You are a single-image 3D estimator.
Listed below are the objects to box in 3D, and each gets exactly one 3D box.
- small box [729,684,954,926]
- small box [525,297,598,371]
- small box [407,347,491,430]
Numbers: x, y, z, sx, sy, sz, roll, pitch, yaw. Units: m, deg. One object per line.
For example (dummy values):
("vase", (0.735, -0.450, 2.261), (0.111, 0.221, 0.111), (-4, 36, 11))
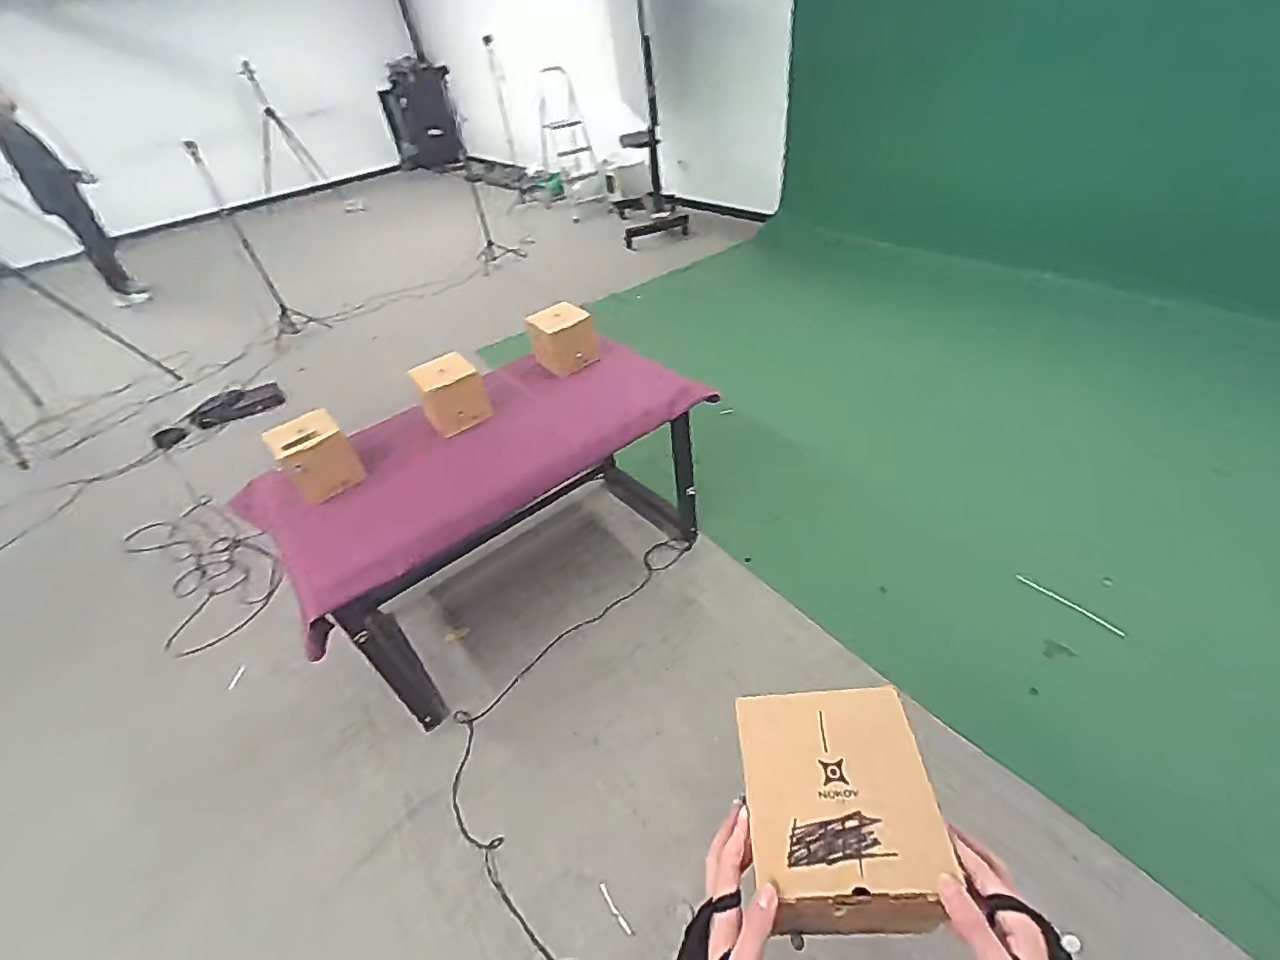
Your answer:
("small box", (0.186, 0.334, 0.551), (0.168, 0.176, 0.179), (-7, 42, 6))
("small box", (-0.265, -0.498, 1.851), (0.168, 0.176, 0.179), (-32, 47, -22))
("small box", (-0.585, -0.280, 1.664), (0.168, 0.176, 0.179), (-31, 47, -24))
